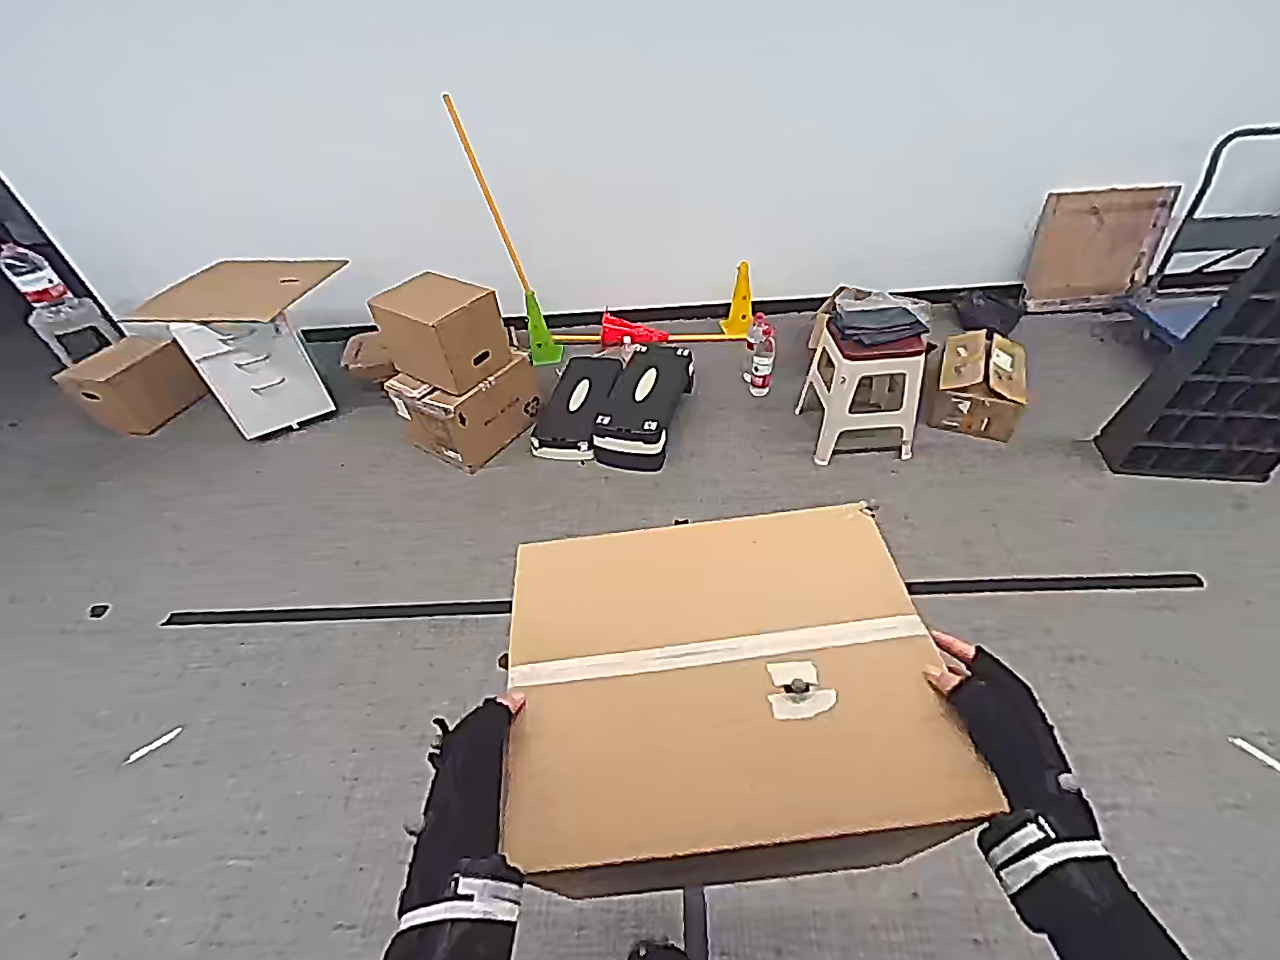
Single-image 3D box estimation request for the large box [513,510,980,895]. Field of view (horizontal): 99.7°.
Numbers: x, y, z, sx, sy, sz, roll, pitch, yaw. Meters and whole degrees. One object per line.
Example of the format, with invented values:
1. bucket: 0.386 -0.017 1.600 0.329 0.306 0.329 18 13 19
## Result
1. large box: 0.085 0.273 0.655 0.408 0.320 0.320 -7 49 0
